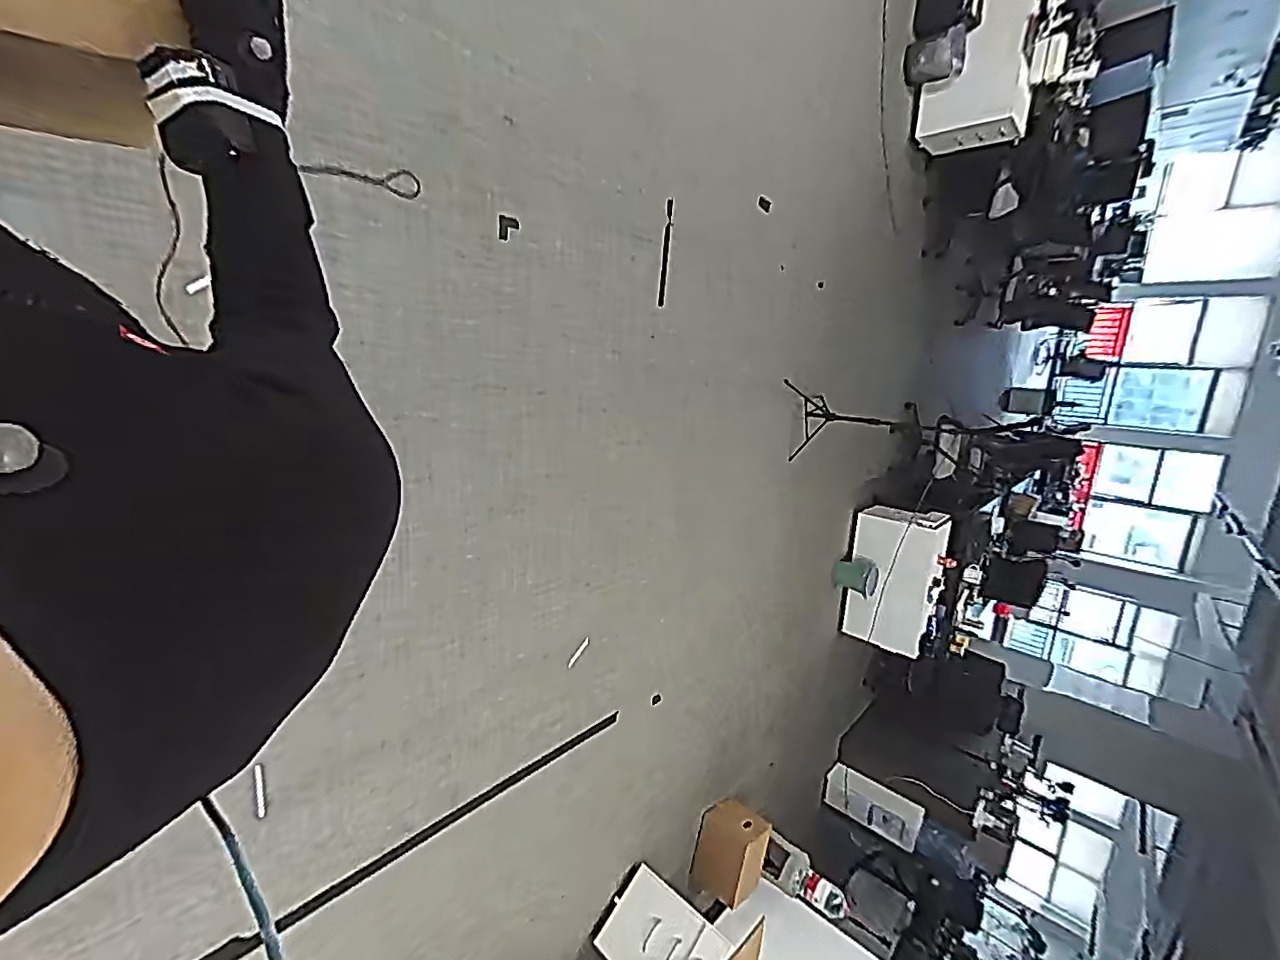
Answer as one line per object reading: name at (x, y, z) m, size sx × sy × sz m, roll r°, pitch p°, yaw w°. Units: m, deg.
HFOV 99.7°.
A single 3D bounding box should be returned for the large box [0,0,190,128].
large box at (-0.578, -0.450, 0.314) m, size 0.408 × 0.320 × 0.320 m, roll -18°, pitch 117°, yaw -45°
